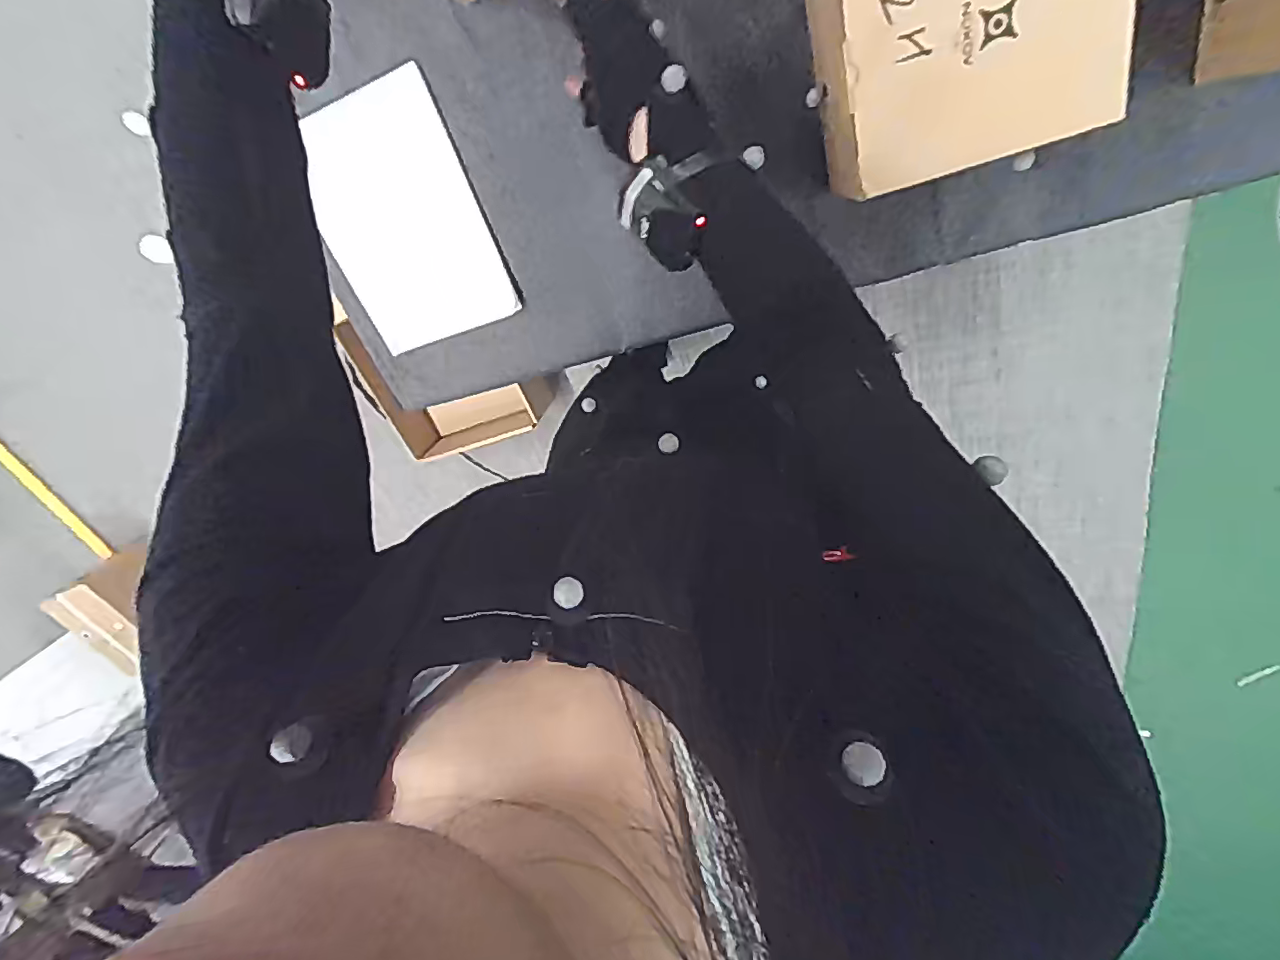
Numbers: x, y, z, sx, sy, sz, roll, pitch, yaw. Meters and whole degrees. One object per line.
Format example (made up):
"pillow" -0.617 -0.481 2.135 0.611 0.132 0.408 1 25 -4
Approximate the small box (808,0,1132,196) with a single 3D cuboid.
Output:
"small box" 0.242 -0.345 0.430 0.179 0.176 0.168 -10 117 17
